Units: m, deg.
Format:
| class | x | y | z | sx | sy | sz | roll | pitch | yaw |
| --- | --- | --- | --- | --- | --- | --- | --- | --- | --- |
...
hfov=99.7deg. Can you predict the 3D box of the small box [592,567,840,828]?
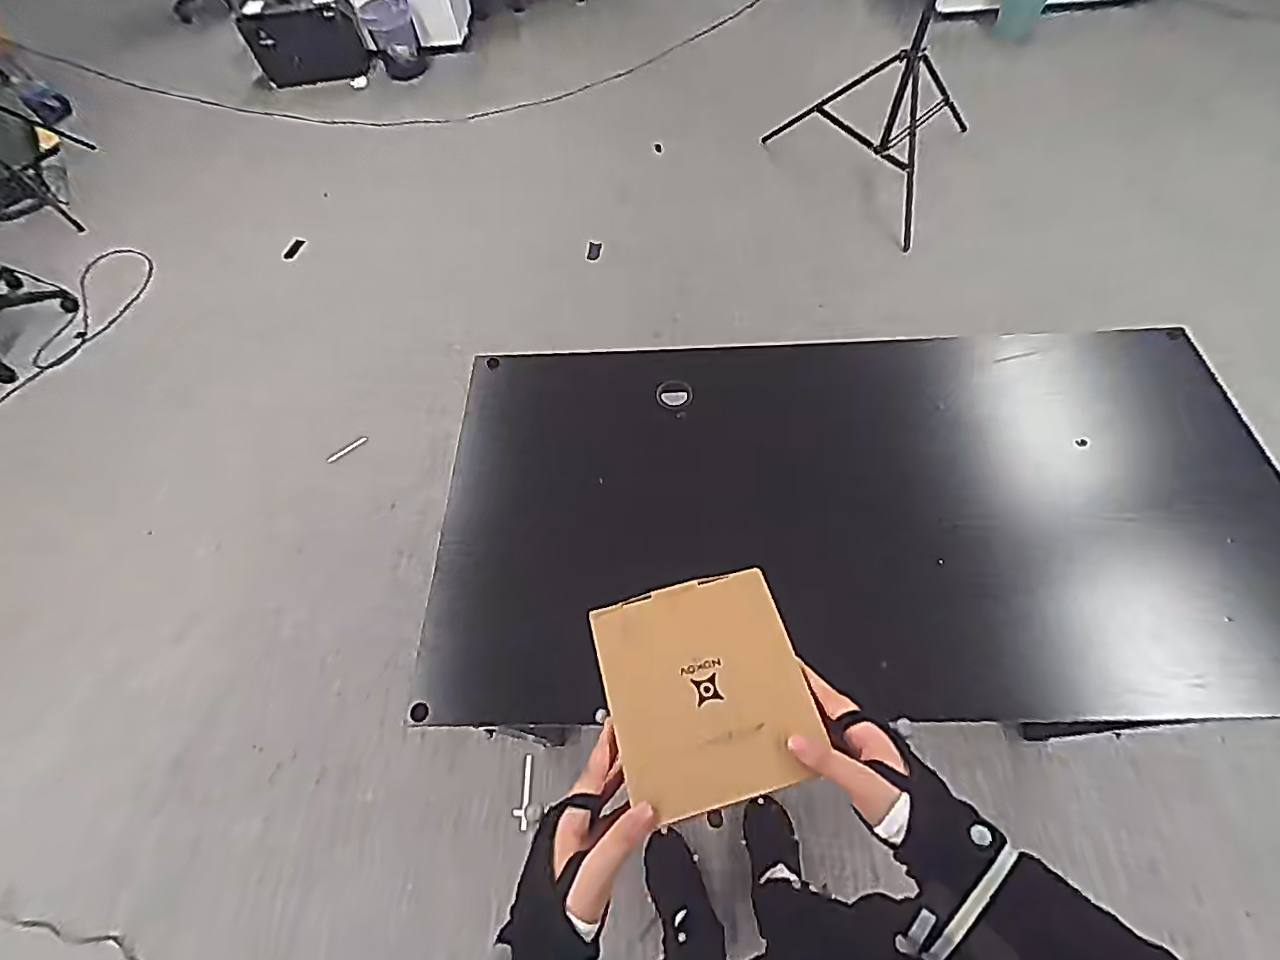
| class | x | y | z | sx | sy | sz | roll | pitch | yaw |
| --- | --- | --- | --- | --- | --- | --- | --- | --- | --- |
| small box | 0.057 | 0.209 | 0.516 | 0.168 | 0.176 | 0.179 | -14 | 60 | -6 |
